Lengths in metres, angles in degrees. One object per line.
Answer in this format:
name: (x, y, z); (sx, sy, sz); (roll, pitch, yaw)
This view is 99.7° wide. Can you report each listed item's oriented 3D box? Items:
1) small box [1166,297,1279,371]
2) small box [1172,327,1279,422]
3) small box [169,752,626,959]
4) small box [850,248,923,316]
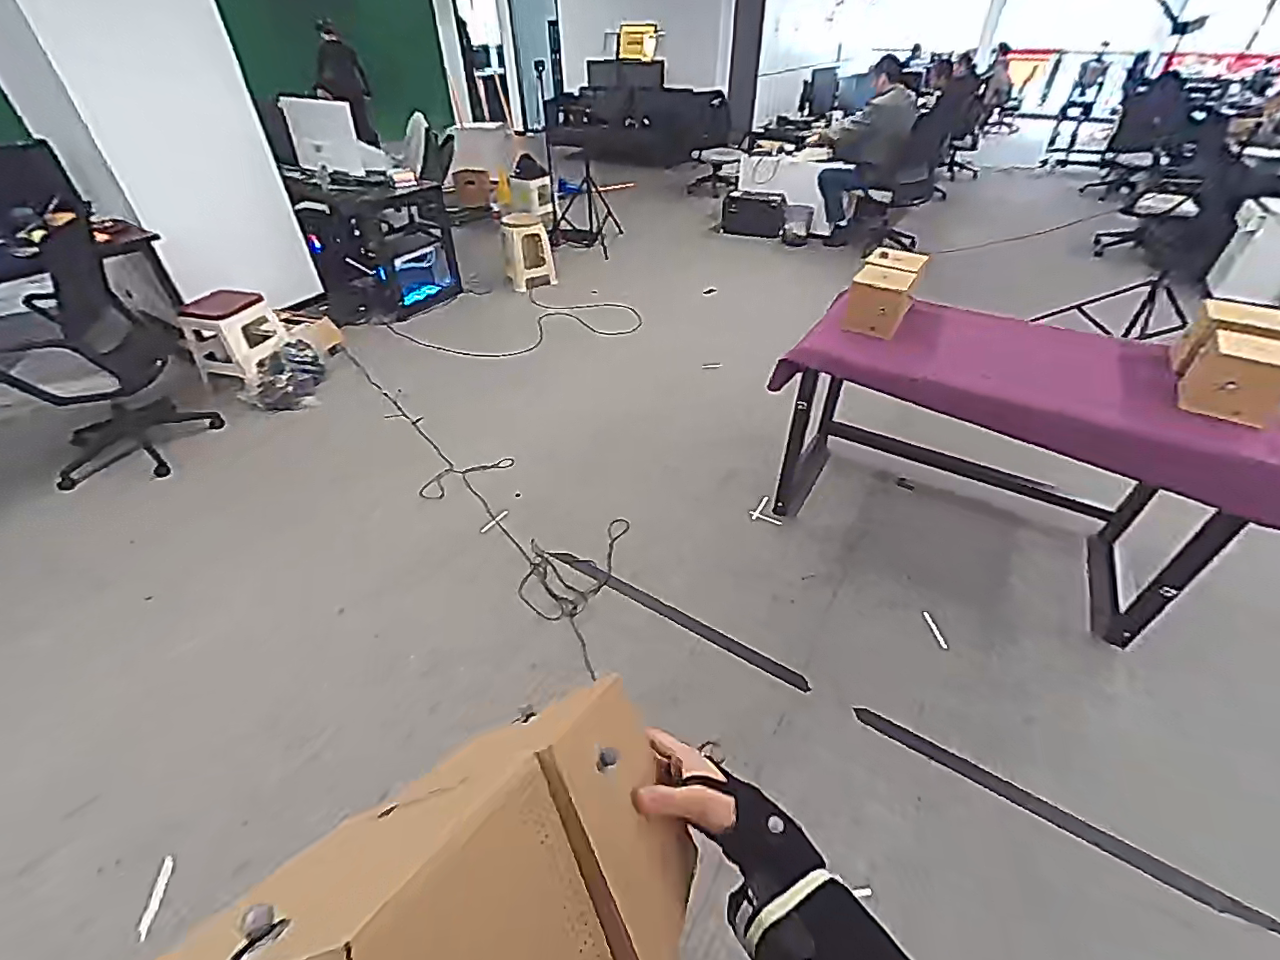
small box: (1.660, -0.402, 1.550); (0.179, 0.176, 0.168); (23, 47, 25)
small box: (1.541, -0.274, 1.410); (0.168, 0.176, 0.179); (25, 45, 28)
small box: (-0.116, 0.282, 0.280); (0.168, 0.176, 0.179); (-25, 82, 10)
small box: (0.869, -0.702, 1.917); (0.179, 0.176, 0.168); (24, 48, 25)
